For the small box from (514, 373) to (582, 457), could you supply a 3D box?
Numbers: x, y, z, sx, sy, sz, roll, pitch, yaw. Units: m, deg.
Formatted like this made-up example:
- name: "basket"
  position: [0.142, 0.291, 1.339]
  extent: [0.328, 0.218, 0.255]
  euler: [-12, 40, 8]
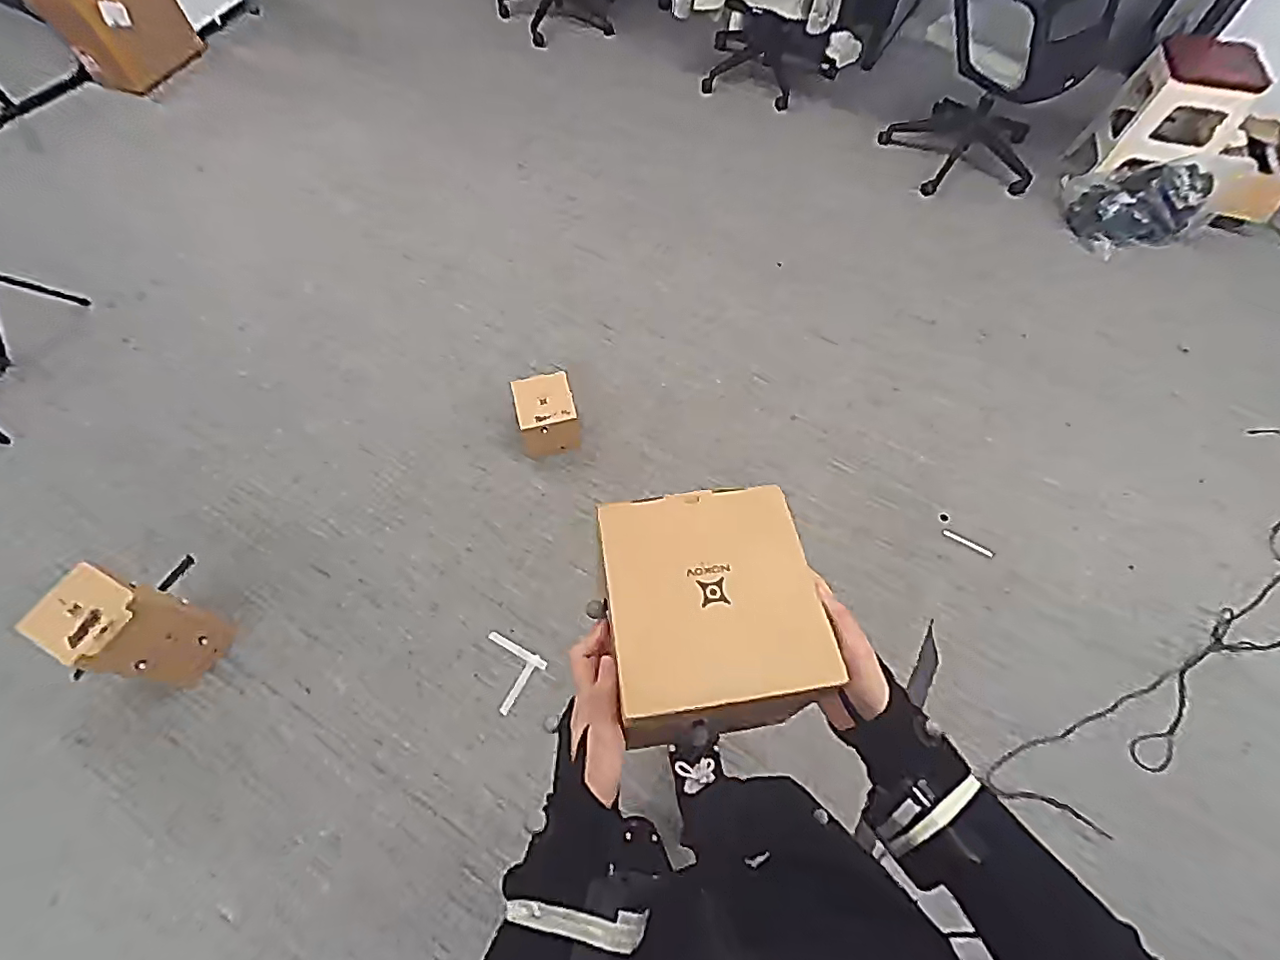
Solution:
- name: "small box"
  position: [-0.278, -0.195, 1.642]
  extent: [0.168, 0.176, 0.179]
  euler: [-14, 63, -7]

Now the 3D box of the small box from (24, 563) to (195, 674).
- name: "small box"
  position: [-1.159, 0.314, 1.200]
  extent: [0.179, 0.176, 0.168]
  euler: [24, 65, 13]

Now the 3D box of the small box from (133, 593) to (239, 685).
- name: "small box"
  position: [-1.161, 0.394, 1.344]
  extent: [0.179, 0.176, 0.168]
  euler: [23, 64, 13]

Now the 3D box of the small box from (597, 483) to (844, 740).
- name: "small box"
  position: [0.054, 0.127, 0.492]
  extent: [0.168, 0.176, 0.179]
  euler: [-7, 56, -7]
